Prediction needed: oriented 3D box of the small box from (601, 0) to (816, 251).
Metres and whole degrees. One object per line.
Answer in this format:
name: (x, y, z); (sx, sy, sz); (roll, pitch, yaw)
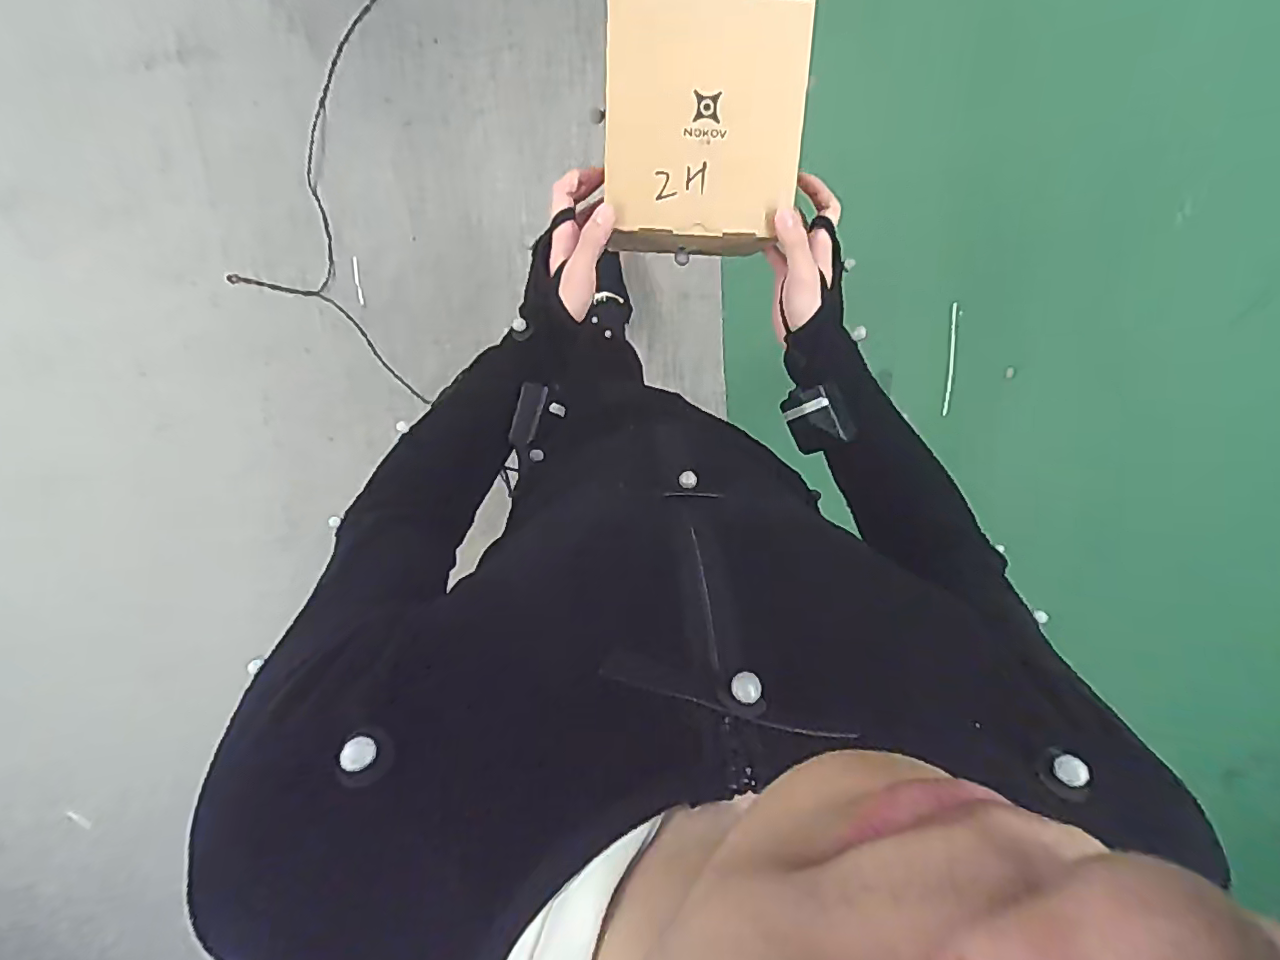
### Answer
small box: (0.049, -0.327, 0.515); (0.168, 0.176, 0.179); (2, 107, -2)
